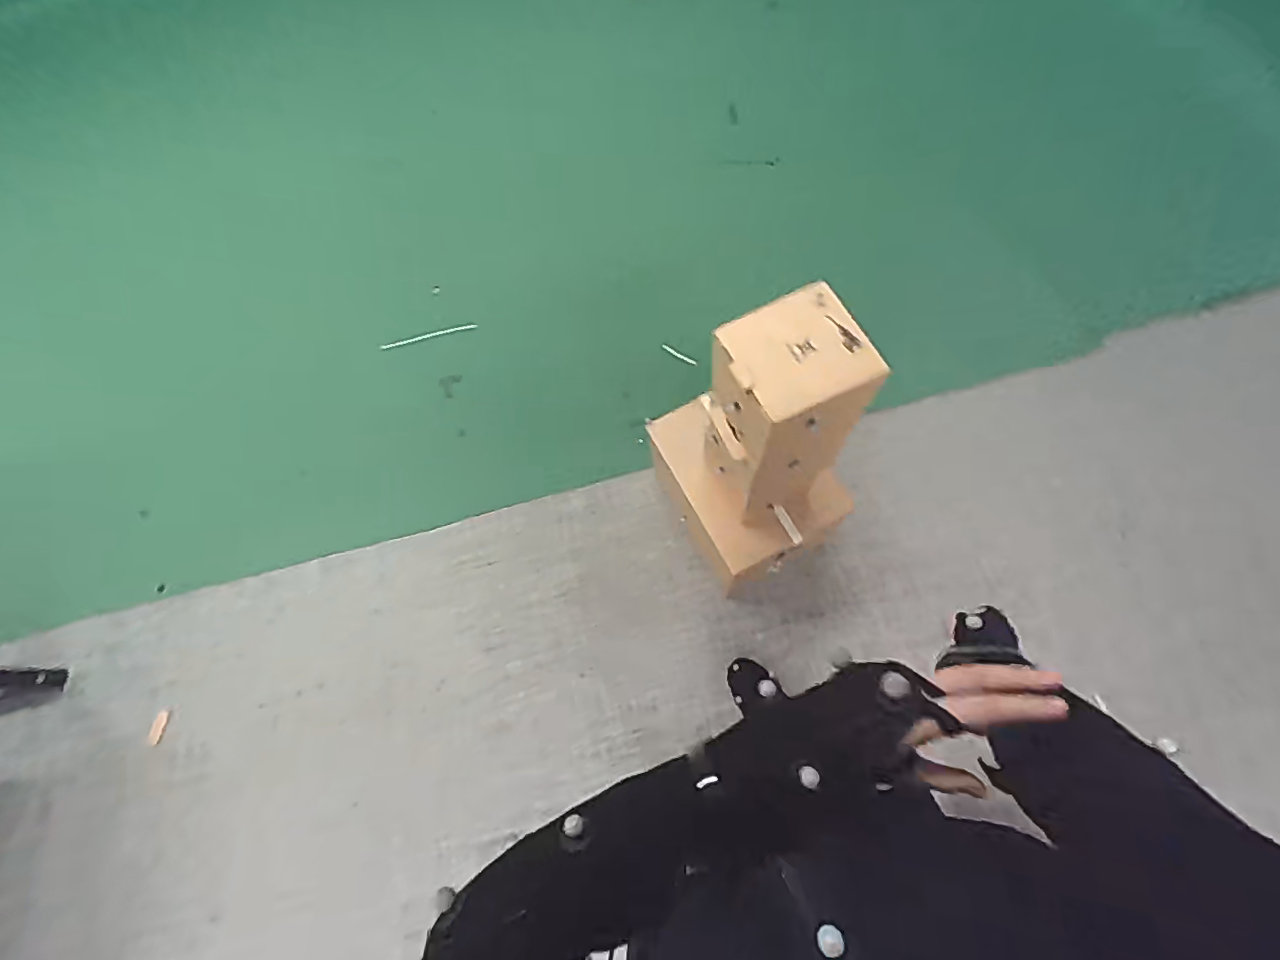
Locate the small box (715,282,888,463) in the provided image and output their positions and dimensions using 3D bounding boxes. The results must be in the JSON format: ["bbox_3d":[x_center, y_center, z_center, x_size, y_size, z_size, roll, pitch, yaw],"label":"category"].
[{"bbox_3d":[0.225,-0.148,0.800,0.179,0.176,0.168,-25,70,-1],"label":"small box"}]

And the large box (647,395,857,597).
[{"bbox_3d":[0.258,0.024,1.346,0.320,0.320,0.408,-27,68,-6],"label":"large box"}]

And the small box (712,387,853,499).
[{"bbox_3d":[0.240,-0.087,0.952,0.179,0.176,0.168,-23,69,-2],"label":"small box"}]

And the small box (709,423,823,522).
[{"bbox_3d":[0.248,-0.038,1.108,0.168,0.176,0.179,-25,70,-2],"label":"small box"}]
